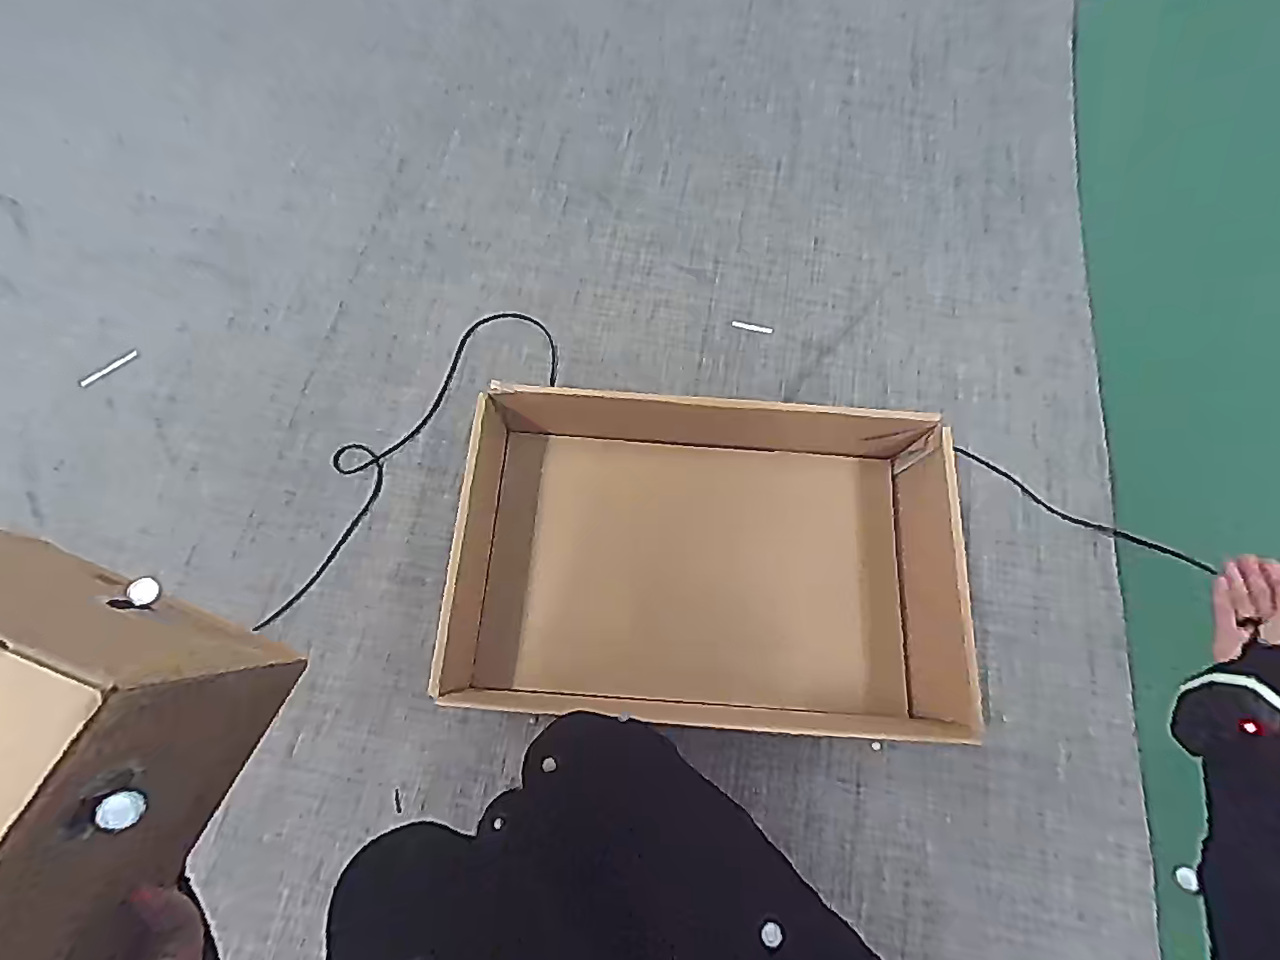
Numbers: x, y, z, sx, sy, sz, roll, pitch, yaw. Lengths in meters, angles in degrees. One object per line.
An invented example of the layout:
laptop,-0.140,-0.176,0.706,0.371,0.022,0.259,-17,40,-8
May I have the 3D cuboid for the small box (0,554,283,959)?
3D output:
small box,-0.282,0.130,0.203,0.168,0.176,0.179,26,69,-4
